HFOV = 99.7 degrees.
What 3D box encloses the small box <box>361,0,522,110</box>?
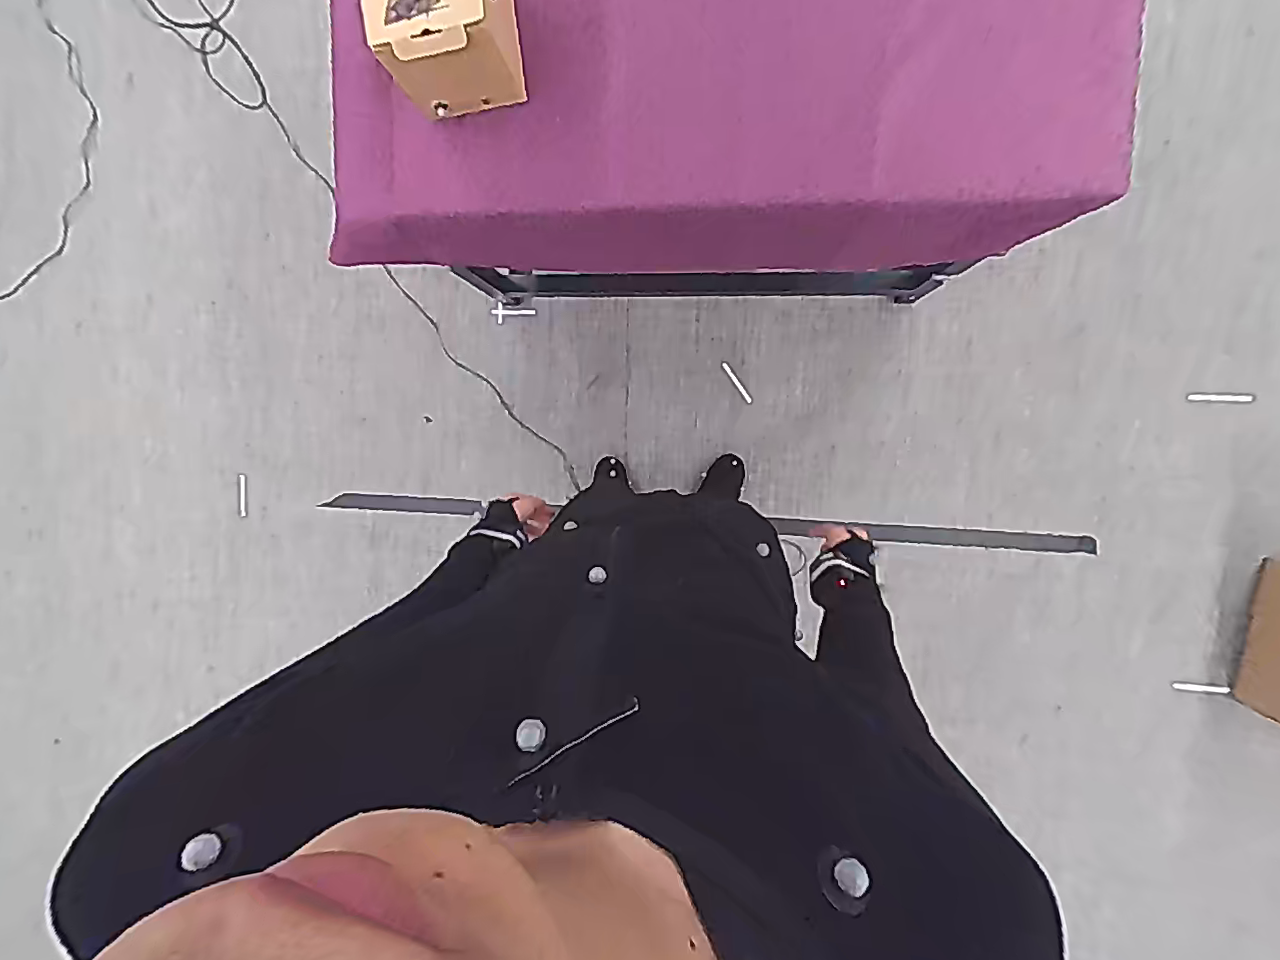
[{"bbox_3d":[-0.280,-0.670,0.779,0.168,0.176,0.179,-7,93,6],"label":"small box"}]
